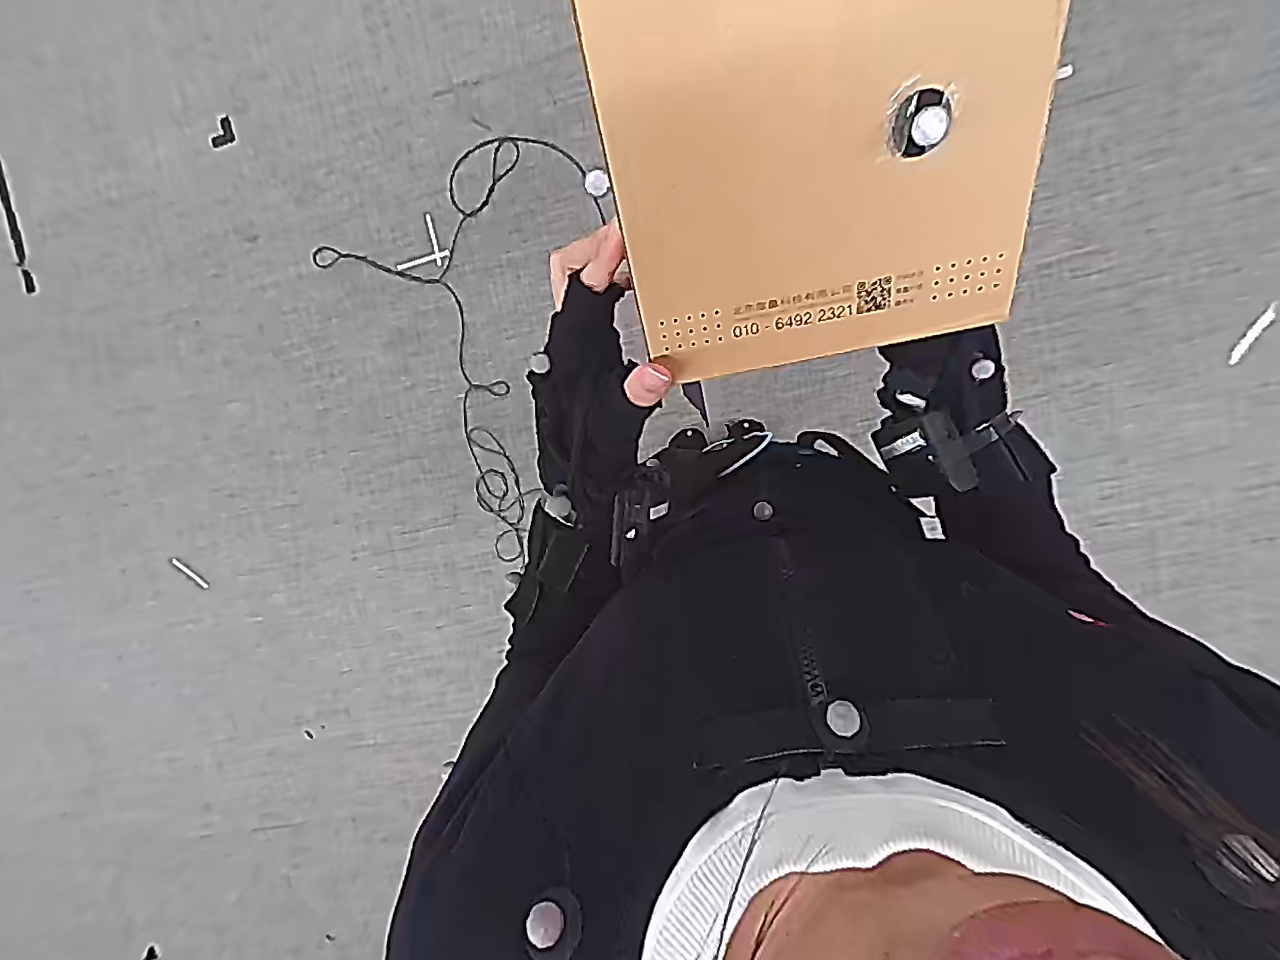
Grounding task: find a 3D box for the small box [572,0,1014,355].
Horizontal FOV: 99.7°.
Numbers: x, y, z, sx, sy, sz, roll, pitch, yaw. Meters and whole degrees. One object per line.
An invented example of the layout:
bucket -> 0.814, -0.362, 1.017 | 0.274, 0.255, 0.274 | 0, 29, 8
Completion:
small box -> 0.074, -0.179, 0.295 | 0.168, 0.179, 0.176 | -9, 126, 8
